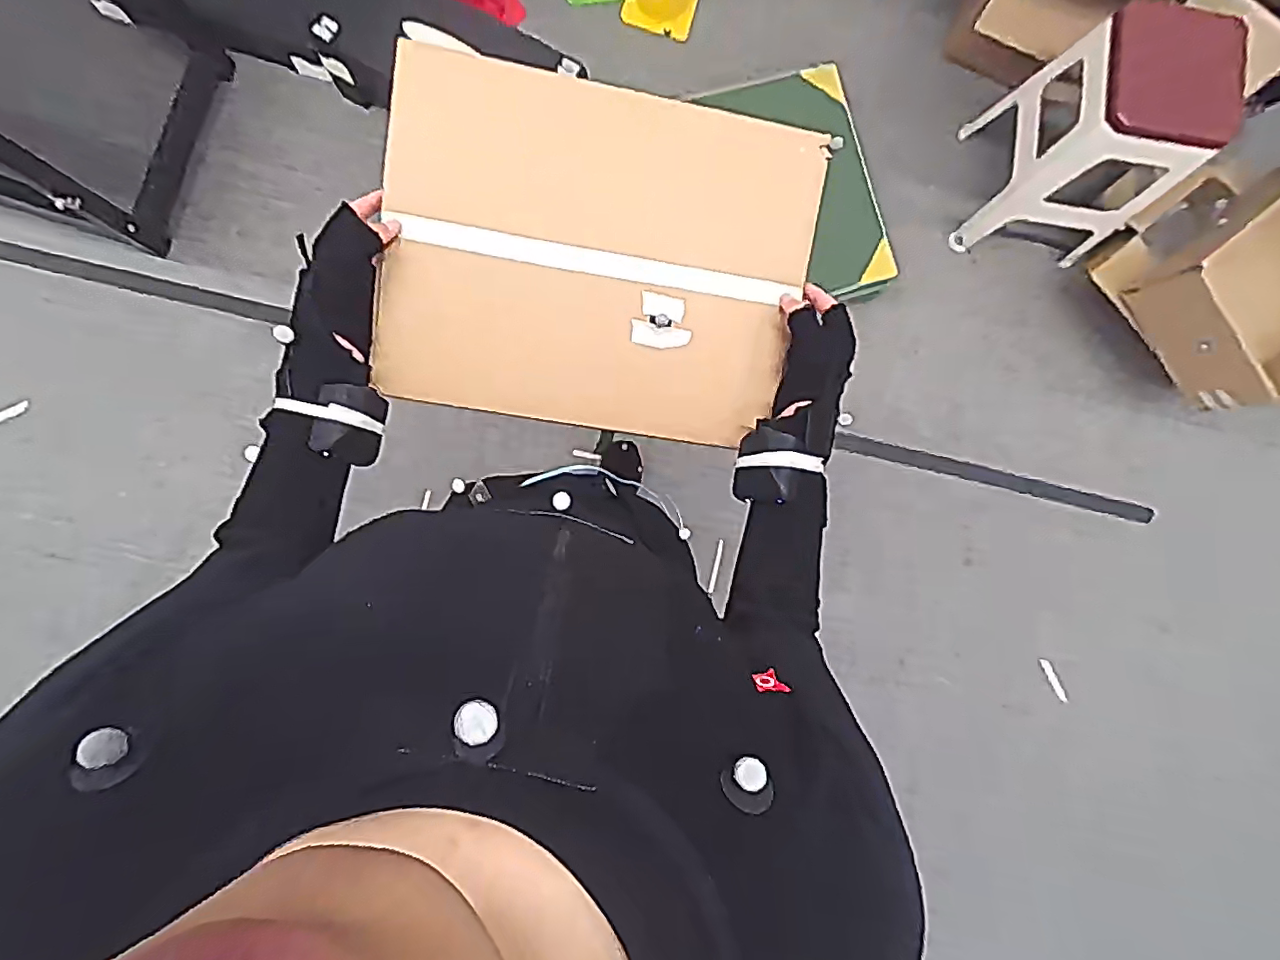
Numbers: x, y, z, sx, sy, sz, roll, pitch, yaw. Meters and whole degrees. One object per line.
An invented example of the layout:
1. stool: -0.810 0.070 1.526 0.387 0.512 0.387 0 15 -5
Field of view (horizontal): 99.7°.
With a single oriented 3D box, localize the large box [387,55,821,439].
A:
1. large box: -0.051 -0.238 0.681 0.408 0.320 0.320 8 98 -7
